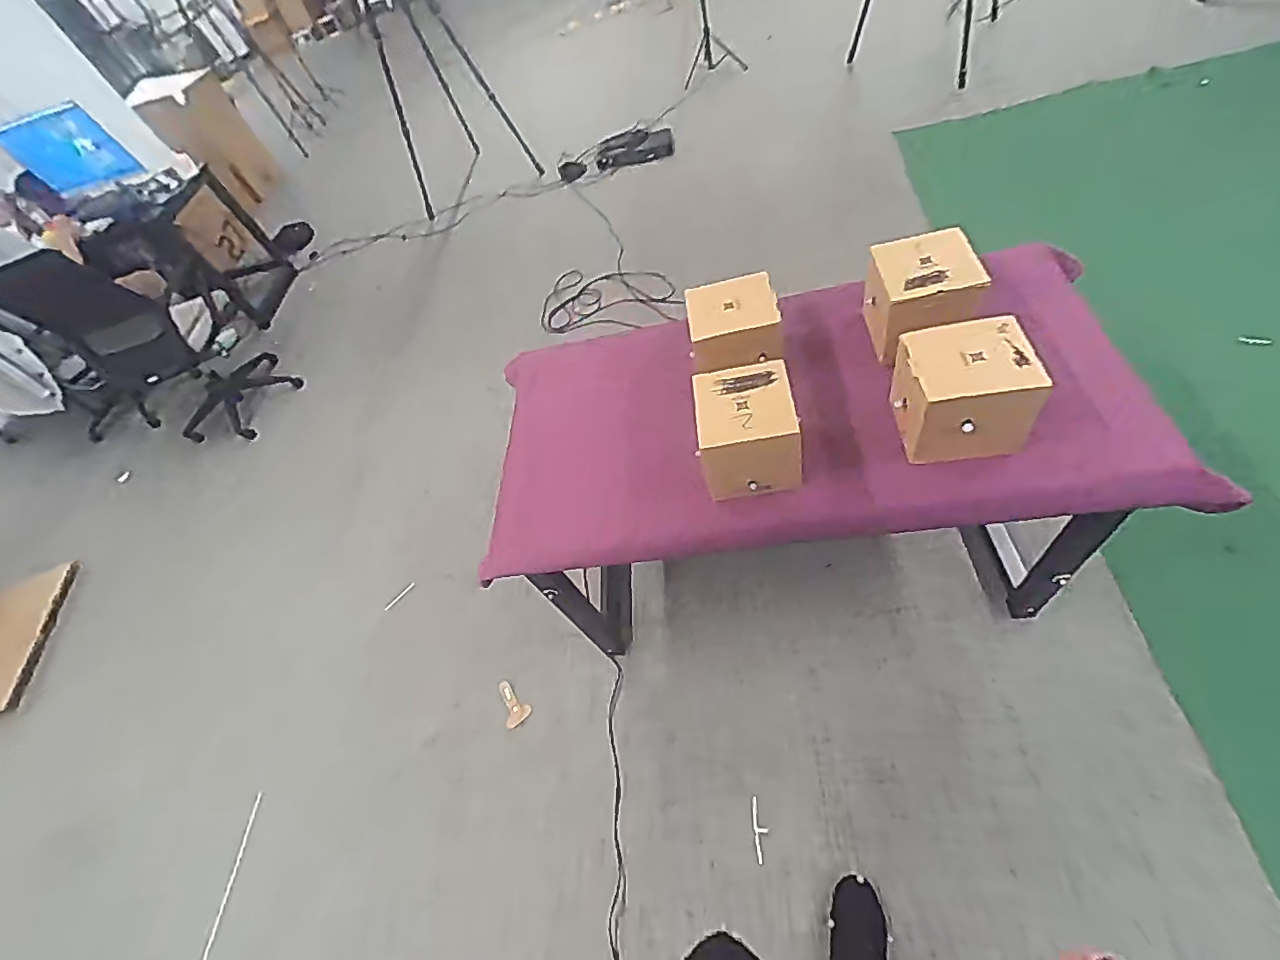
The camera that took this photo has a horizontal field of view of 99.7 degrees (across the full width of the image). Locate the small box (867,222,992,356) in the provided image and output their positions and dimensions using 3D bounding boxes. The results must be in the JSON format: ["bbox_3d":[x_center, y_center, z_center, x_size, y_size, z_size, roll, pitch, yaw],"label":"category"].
[{"bbox_3d":[0.549,-0.359,1.051,0.168,0.176,0.179,-8,54,13],"label":"small box"}]

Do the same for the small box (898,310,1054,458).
[{"bbox_3d":[0.544,-0.152,0.909,0.179,0.176,0.168,-7,54,14],"label":"small box"}]

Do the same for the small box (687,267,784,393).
[{"bbox_3d":[0.202,-0.307,1.128,0.179,0.176,0.168,-10,54,12],"label":"small box"}]
